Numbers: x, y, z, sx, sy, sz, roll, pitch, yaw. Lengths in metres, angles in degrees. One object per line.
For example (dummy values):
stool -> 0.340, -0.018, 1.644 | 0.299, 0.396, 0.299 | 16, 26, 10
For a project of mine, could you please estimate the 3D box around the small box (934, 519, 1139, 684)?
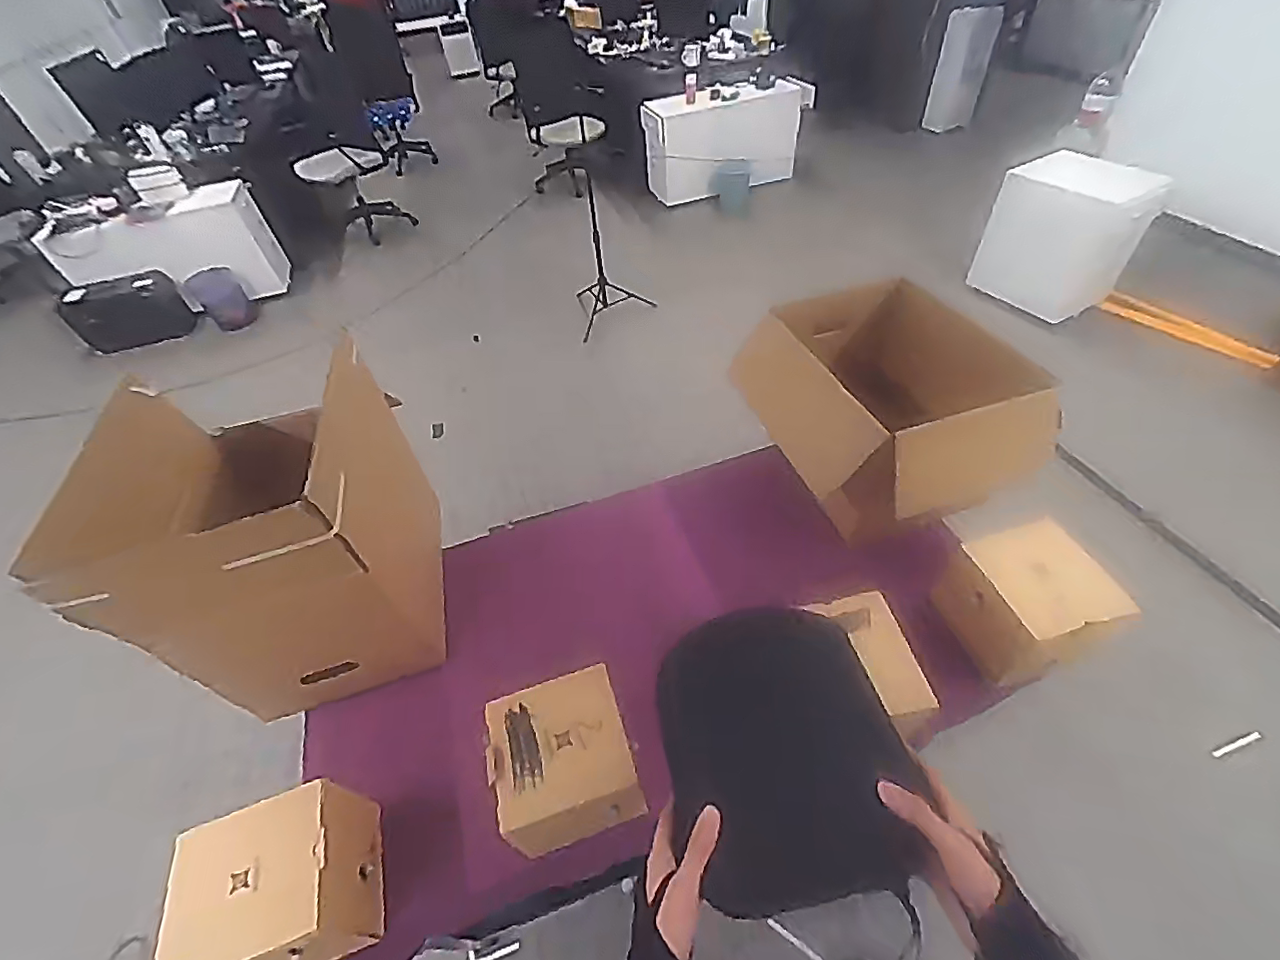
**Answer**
small box -> 0.606, 0.194, 0.860 | 0.168, 0.176, 0.179 | -14, 48, -4

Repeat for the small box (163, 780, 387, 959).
small box -> -0.450, 0.524, 0.692 | 0.179, 0.176, 0.168 | -18, 48, -11
